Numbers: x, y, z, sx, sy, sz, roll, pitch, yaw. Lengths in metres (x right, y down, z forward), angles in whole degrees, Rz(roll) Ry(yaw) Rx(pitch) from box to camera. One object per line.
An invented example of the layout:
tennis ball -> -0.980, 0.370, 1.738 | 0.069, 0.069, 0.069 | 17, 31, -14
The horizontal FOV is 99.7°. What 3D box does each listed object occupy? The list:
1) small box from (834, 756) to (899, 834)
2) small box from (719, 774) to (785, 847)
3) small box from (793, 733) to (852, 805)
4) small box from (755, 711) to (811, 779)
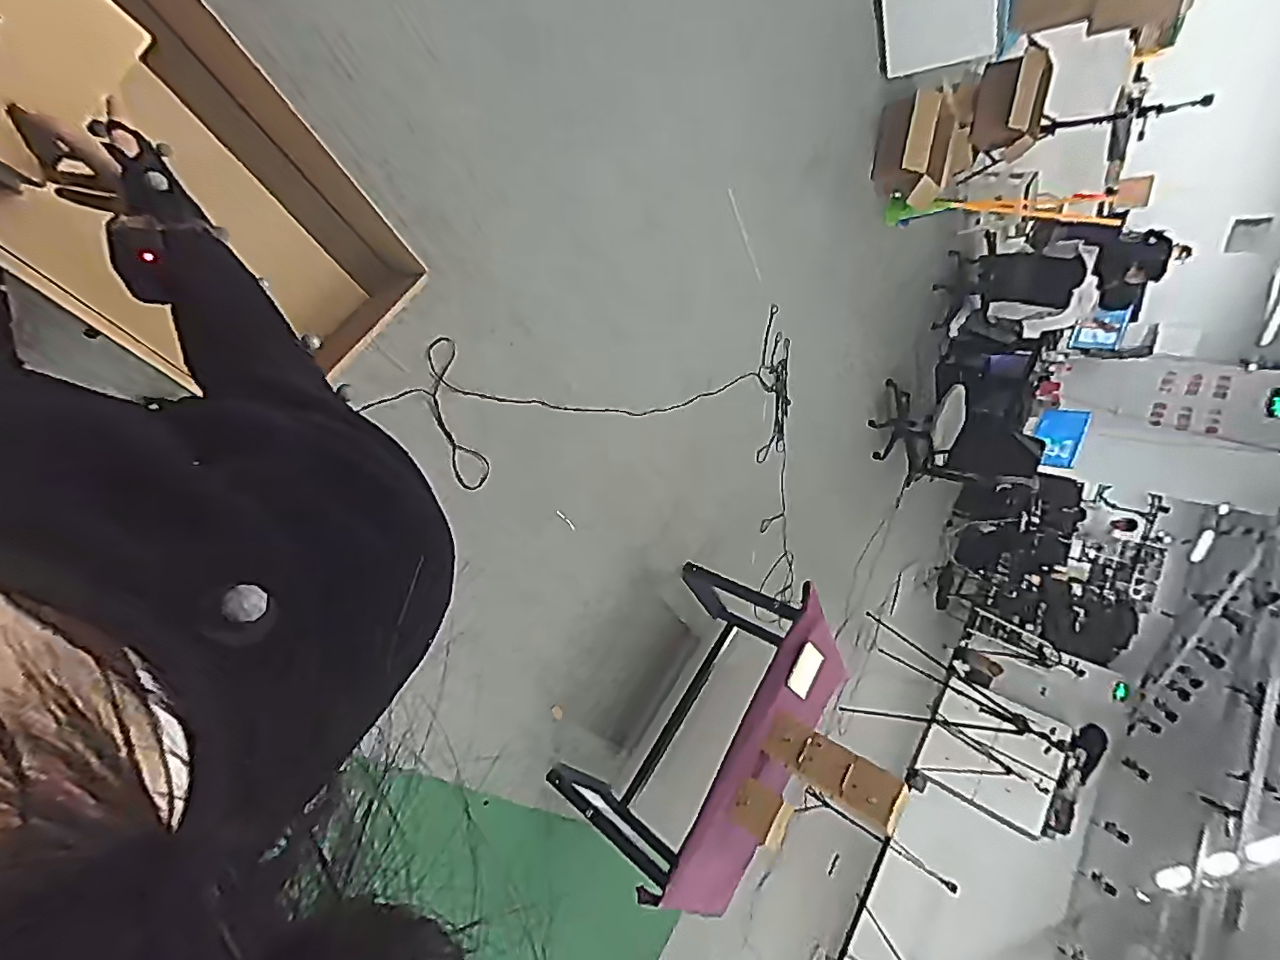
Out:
small box -> 0.818, 1.136, 1.958 | 0.168, 0.176, 0.179 | -52, 137, -21
small box -> 0.430, 1.267, 2.076 | 0.168, 0.176, 0.179 | -54, 138, -21
small box -> 0.702, 1.099, 2.066 | 0.168, 0.176, 0.179 | -53, 138, -20
small box -> 0.584, 1.062, 2.176 | 0.168, 0.176, 0.179 | -53, 136, -20
